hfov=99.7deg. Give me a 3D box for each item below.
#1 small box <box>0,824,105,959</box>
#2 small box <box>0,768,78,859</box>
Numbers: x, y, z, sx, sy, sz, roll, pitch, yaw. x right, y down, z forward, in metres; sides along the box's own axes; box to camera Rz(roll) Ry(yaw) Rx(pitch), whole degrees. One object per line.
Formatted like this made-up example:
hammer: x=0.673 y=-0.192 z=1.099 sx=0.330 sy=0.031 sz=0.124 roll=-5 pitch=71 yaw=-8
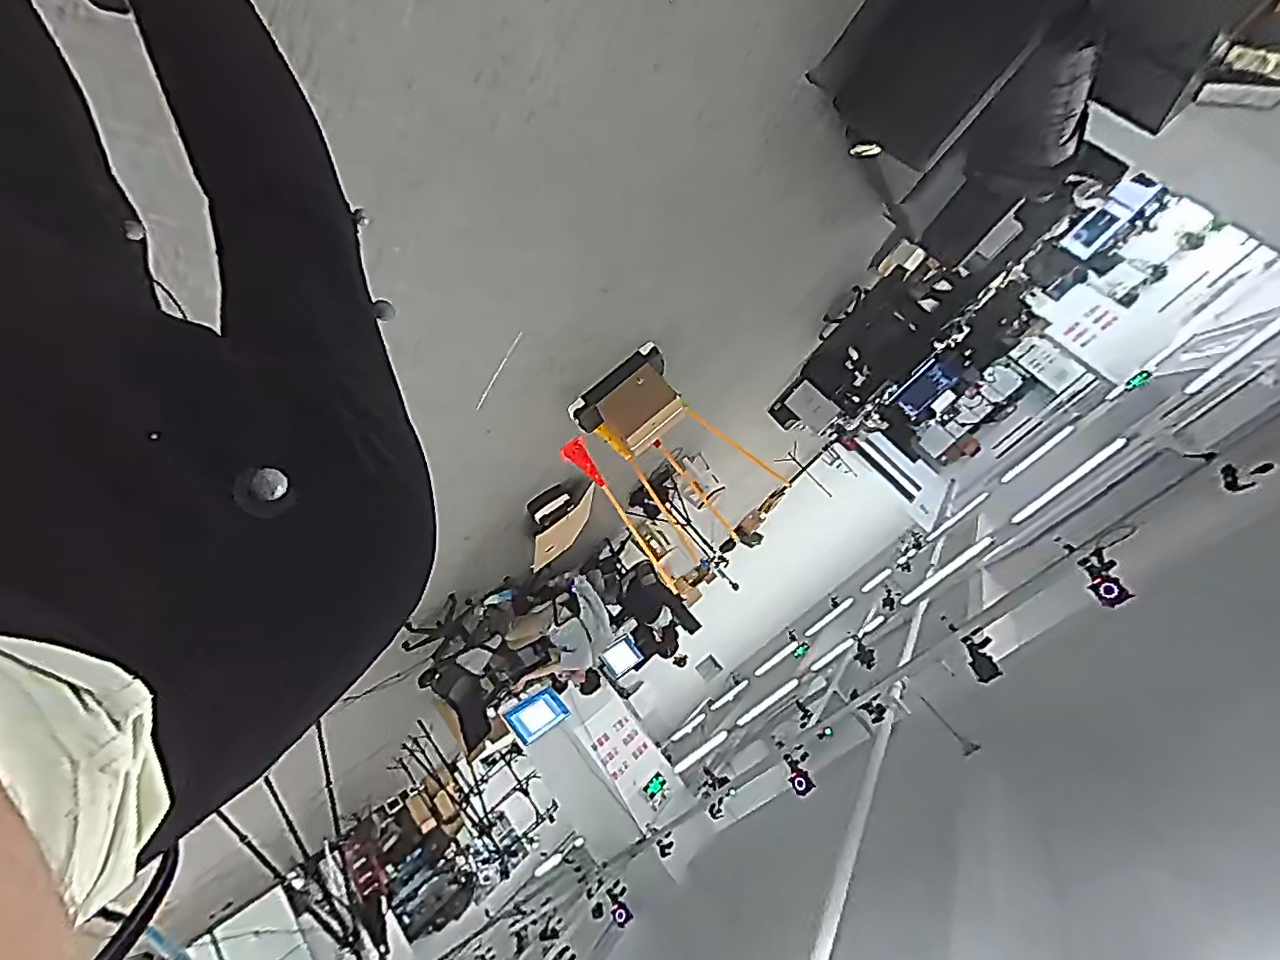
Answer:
small box: x=-1.377 y=0.938 z=1.237 sx=0.168 sy=0.176 sz=0.179 roll=-52 pitch=160 yaw=28
small box: x=-1.483 y=0.824 z=1.285 sx=0.179 sy=0.176 sz=0.168 roll=-50 pitch=161 yaw=29
